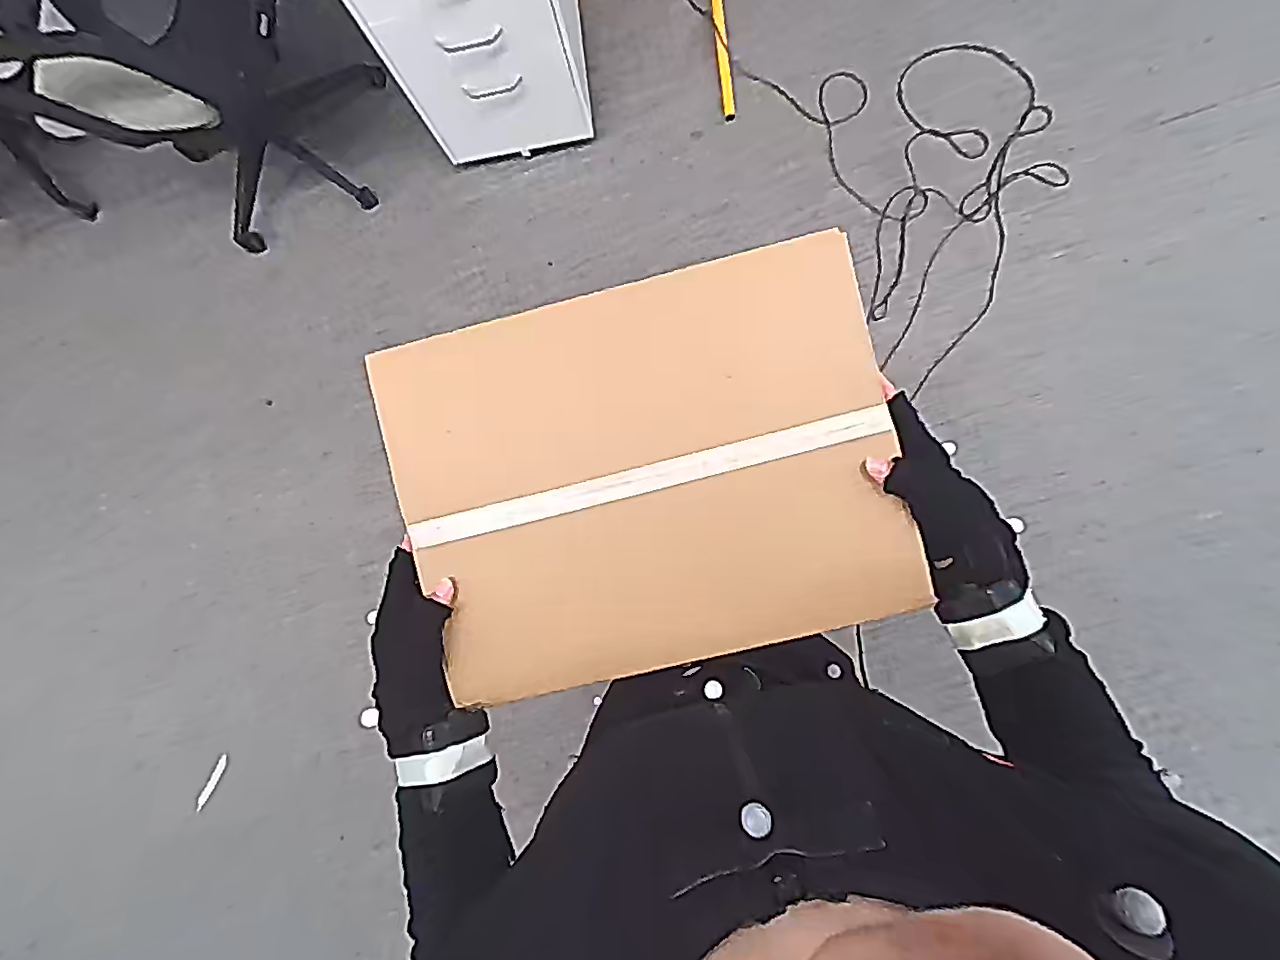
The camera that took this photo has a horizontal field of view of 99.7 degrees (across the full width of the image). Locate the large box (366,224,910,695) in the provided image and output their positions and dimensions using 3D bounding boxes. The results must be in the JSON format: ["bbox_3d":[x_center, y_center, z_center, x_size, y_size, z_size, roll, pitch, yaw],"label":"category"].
[{"bbox_3d":[0.003,-0.018,0.598,0.408,0.320,0.320,-14,91,3],"label":"large box"}]
